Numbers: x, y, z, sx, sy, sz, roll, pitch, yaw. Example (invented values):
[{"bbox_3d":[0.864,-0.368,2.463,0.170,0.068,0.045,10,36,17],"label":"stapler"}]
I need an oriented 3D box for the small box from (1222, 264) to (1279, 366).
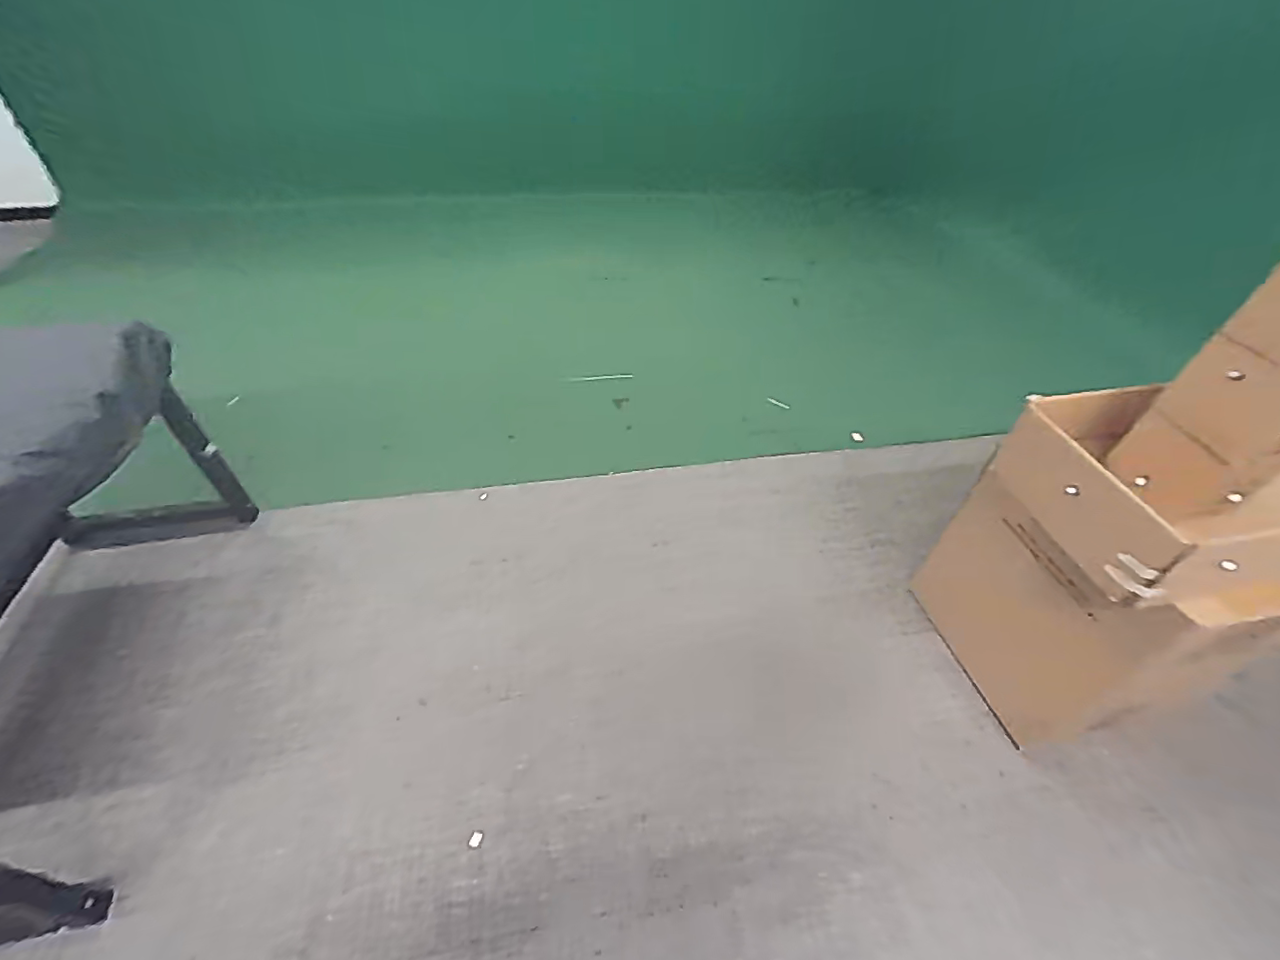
[{"bbox_3d":[1.122,-0.265,0.856,0.168,0.176,0.179,-6,45,-11],"label":"small box"}]

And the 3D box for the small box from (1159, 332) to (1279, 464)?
[{"bbox_3d":[1.115,-0.150,0.970,0.168,0.176,0.179,-5,46,-8],"label":"small box"}]

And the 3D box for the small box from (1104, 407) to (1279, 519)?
[{"bbox_3d":[1.112,-0.035,1.087,0.168,0.176,0.179,-6,46,-11],"label":"small box"}]
